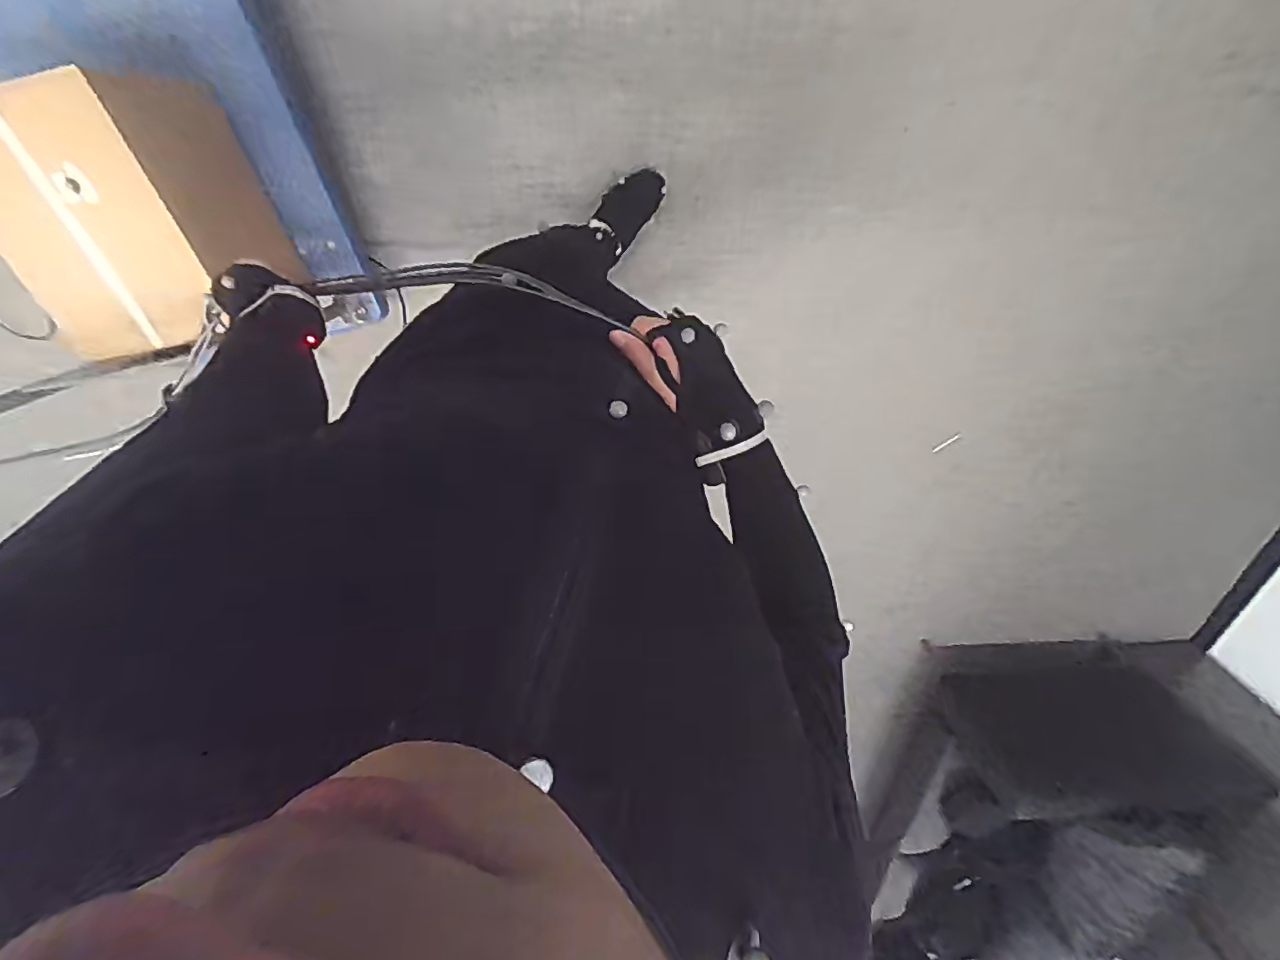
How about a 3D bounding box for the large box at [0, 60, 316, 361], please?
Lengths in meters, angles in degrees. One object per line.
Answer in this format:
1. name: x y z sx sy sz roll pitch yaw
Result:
1. large box: -0.920 -0.491 1.020 0.320 0.320 0.408 -12 121 4
